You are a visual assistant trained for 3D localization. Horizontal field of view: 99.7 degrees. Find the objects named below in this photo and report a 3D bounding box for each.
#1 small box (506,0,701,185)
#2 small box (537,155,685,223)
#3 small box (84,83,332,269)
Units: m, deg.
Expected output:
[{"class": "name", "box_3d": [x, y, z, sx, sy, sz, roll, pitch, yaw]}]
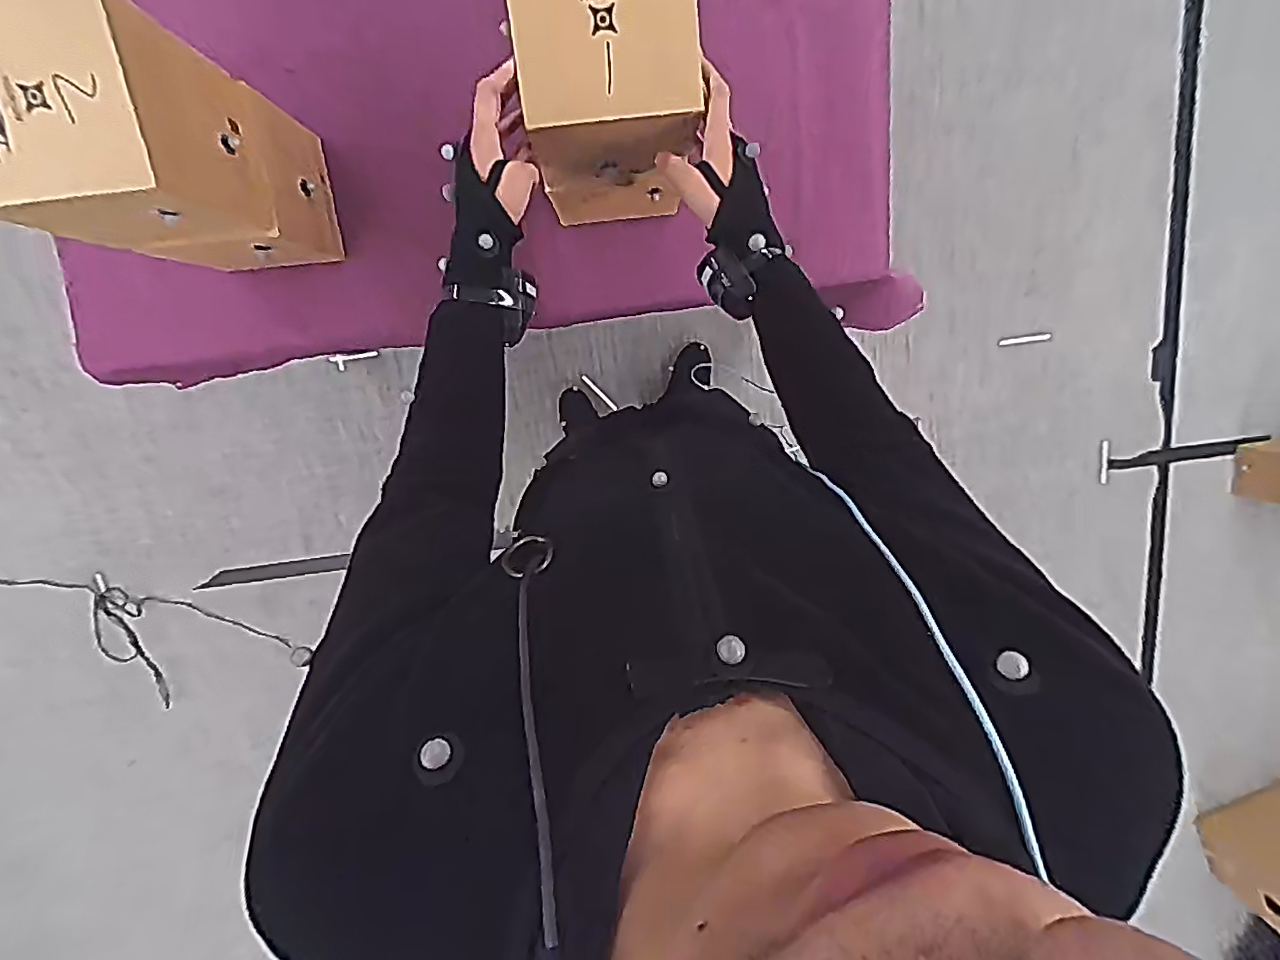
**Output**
[{"class": "small box", "box_3d": [-0.038, -0.422, 0.542, 0.168, 0.176, 0.179, -6, 103, -1]}, {"class": "small box", "box_3d": [-0.043, -0.447, 0.705, 0.179, 0.176, 0.168, -7, 103, -2]}, {"class": "small box", "box_3d": [-0.526, -0.375, 0.695, 0.179, 0.176, 0.168, -6, 103, -2]}]
